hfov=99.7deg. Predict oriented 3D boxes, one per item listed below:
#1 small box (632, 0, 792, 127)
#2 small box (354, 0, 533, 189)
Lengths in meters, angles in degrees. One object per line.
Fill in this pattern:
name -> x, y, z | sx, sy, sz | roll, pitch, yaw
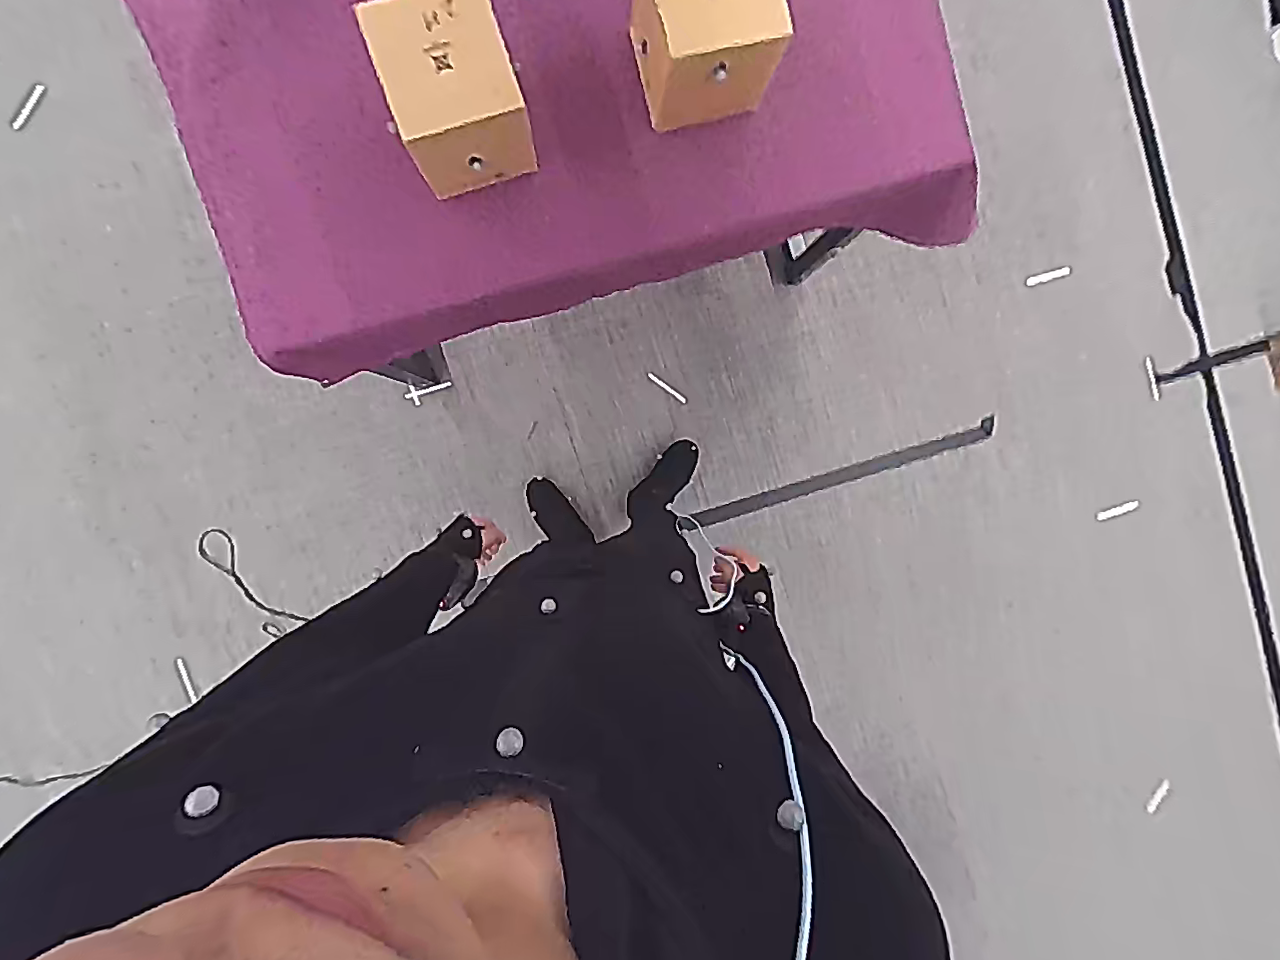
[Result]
small box -> 0.095, -0.658, 0.789 | 0.179, 0.176, 0.168 | -15, 95, -3
small box -> -0.260, -0.541, 0.762 | 0.168, 0.176, 0.179 | -19, 95, -4
